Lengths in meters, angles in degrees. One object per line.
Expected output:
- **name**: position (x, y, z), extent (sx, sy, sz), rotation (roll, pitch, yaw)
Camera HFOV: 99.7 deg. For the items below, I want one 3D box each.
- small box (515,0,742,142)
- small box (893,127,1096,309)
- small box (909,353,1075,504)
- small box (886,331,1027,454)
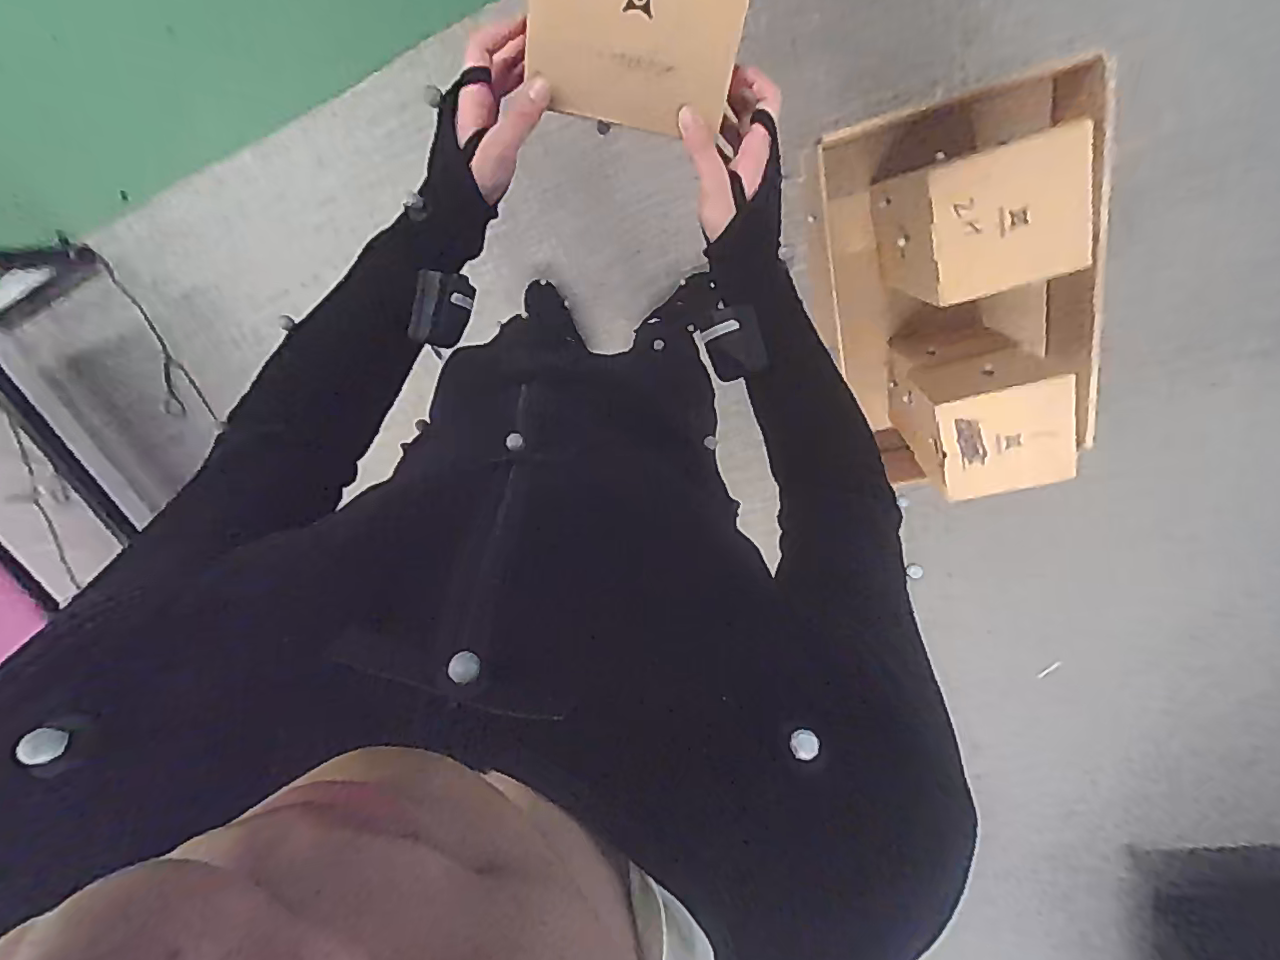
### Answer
- **small box**: position (-0.008, -0.411, 0.460), extent (0.168, 0.176, 0.179), rotation (8, 125, -7)
- **small box**: position (0.464, -0.347, 0.730), extent (0.179, 0.176, 0.168), rotation (-12, 112, 15)
- **small box**: position (0.537, -0.085, 0.848), extent (0.179, 0.176, 0.168), rotation (-13, 114, 15)
- **small box**: position (0.565, -0.165, 0.989), extent (0.179, 0.176, 0.168), rotation (-8, 115, 14)
